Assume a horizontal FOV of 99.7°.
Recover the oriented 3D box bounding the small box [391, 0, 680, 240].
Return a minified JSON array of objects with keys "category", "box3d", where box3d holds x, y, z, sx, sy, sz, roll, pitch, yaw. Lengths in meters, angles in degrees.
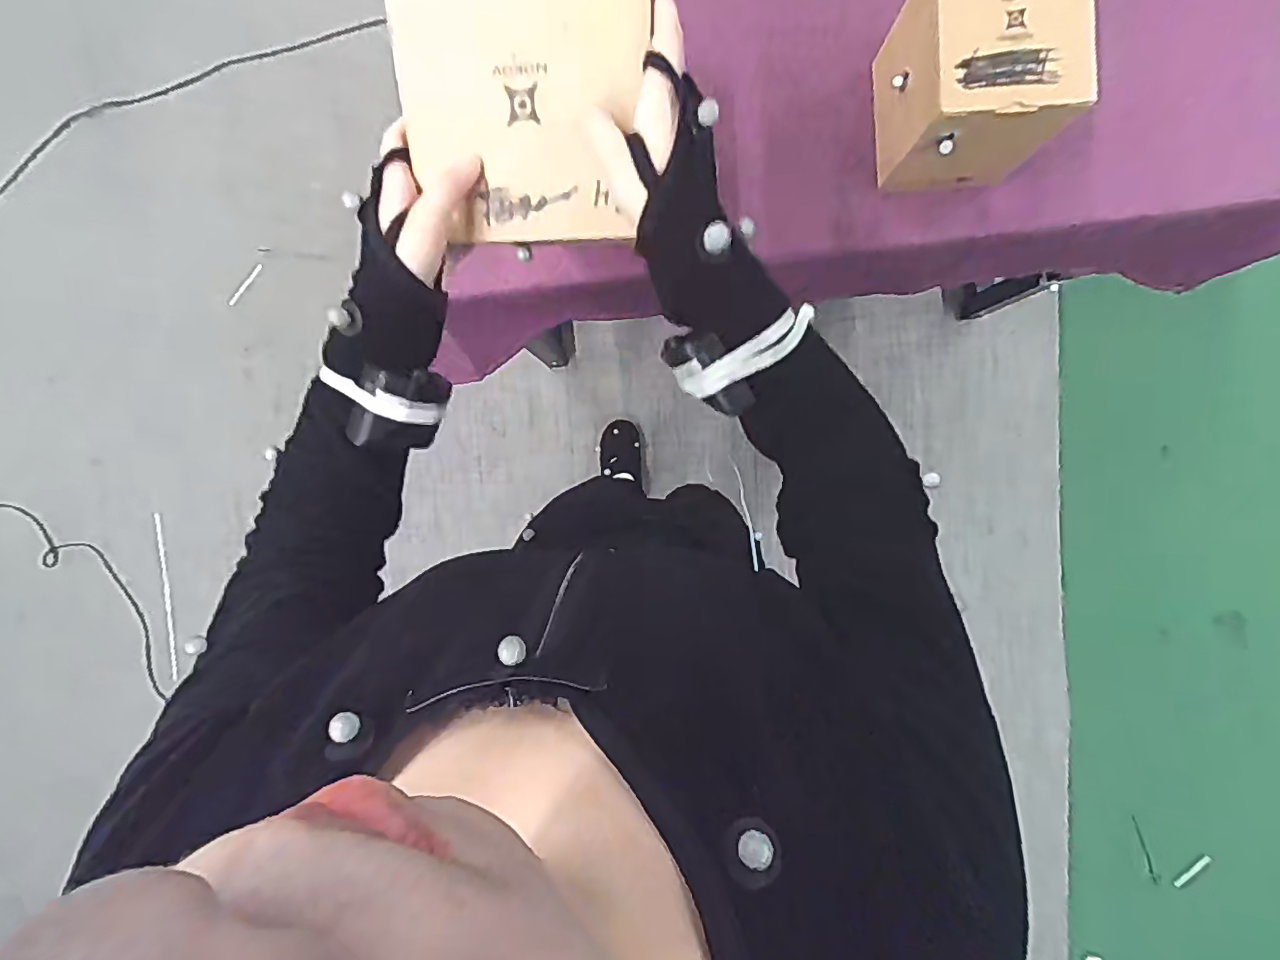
[{"category":"small box","box3d":[-0.061,-0.284,0.413,0.168,0.176,0.179,3,112,10]}]
